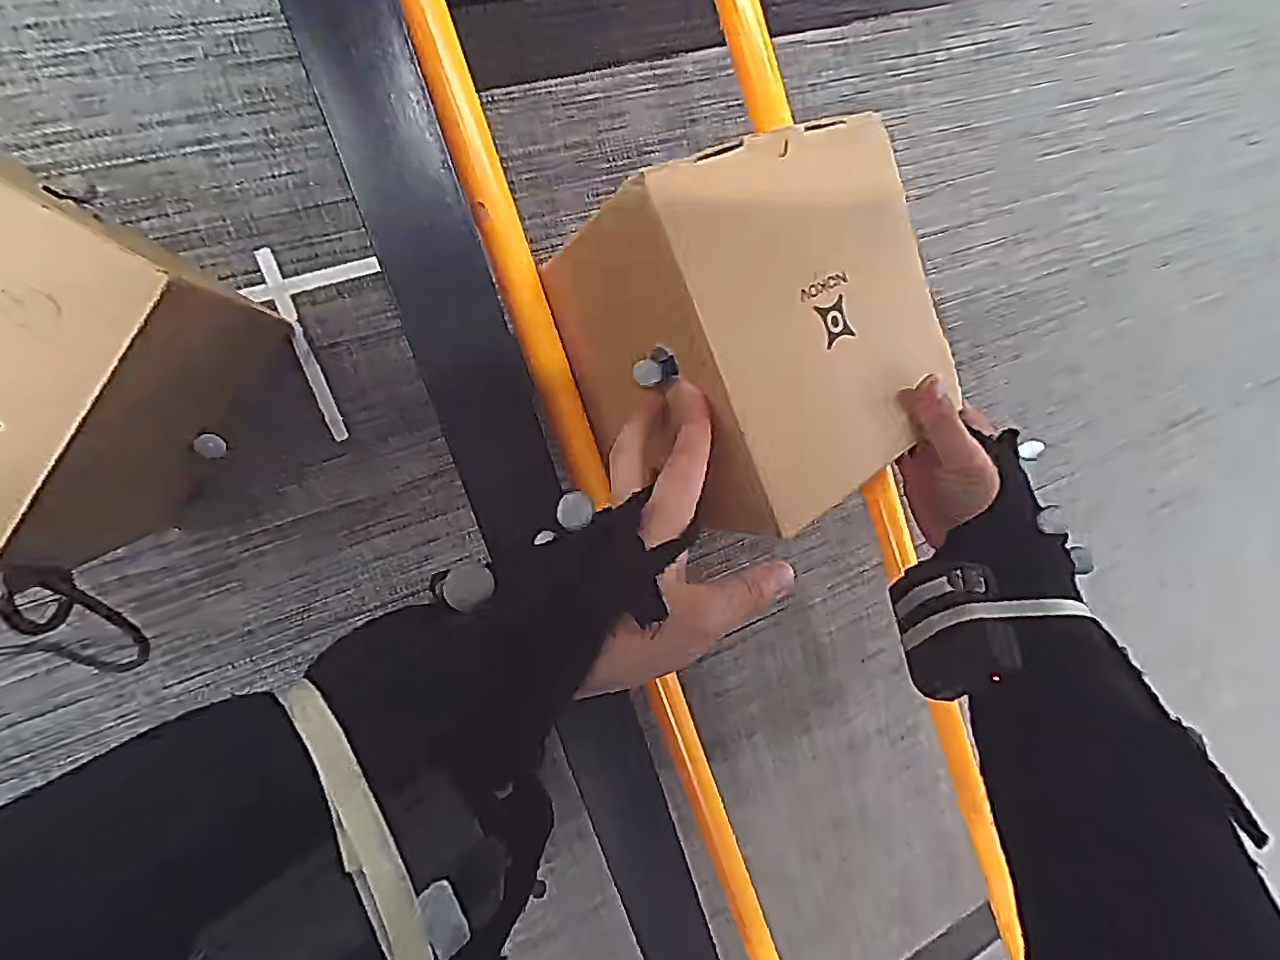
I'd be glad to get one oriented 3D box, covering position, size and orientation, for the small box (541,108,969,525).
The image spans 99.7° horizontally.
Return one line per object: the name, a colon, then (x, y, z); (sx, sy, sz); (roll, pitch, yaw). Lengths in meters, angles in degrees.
small box: (0.063, -0.088, 0.344); (0.168, 0.176, 0.179); (-30, 102, -27)
